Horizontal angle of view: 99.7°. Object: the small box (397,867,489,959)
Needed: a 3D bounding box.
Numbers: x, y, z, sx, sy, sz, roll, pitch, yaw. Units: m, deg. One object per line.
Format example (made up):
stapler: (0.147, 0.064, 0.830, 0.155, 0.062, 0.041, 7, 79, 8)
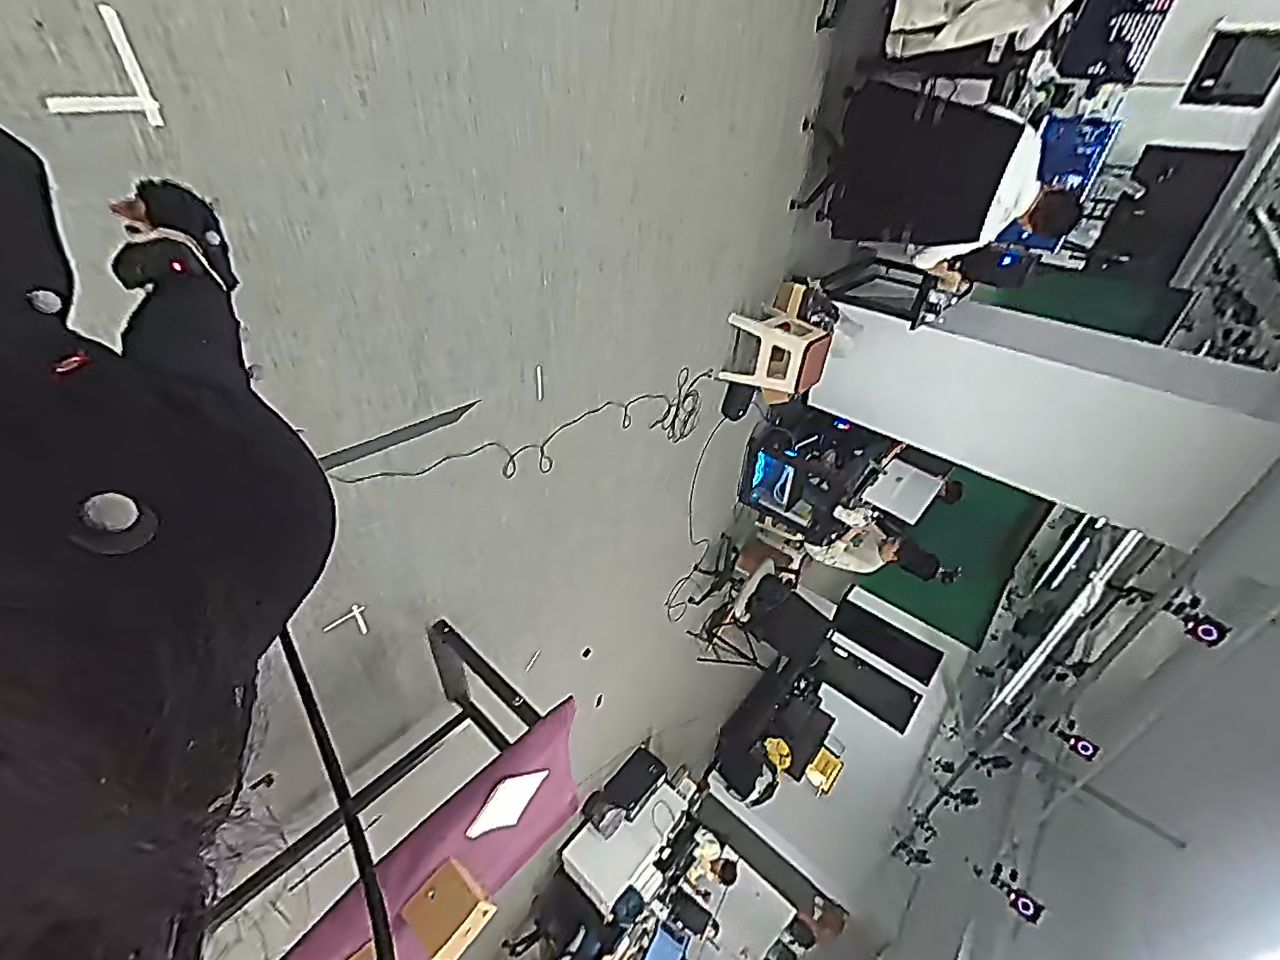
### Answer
small box: (-0.579, 1.286, 1.574, 0.179, 0.176, 0.168, -41, 144, -30)
